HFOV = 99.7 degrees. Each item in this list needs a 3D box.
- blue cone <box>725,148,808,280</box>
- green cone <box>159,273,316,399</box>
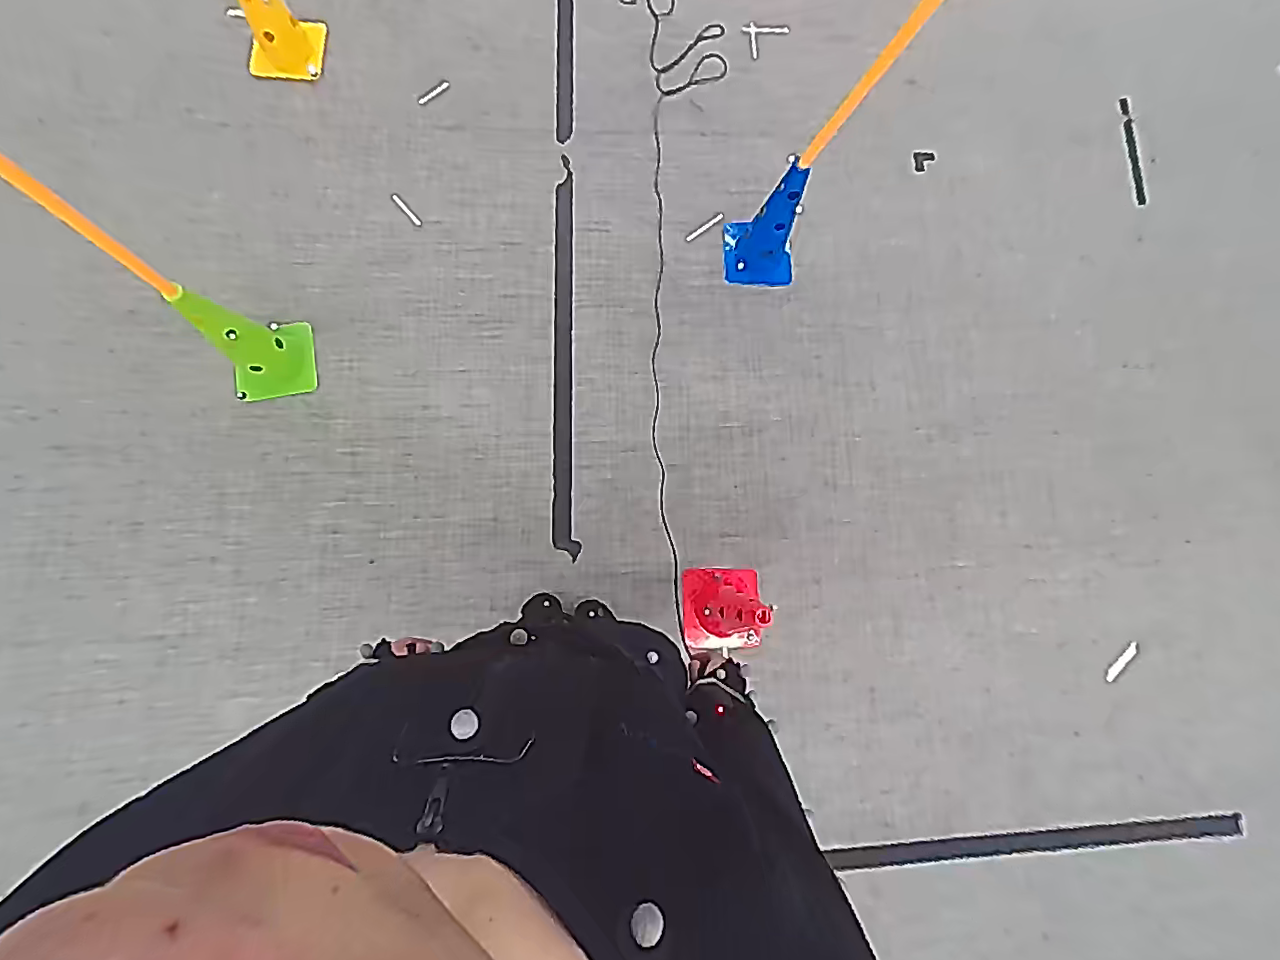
[{"bbox_3d":[0.359,-0.708,1.430,0.193,0.380,0.192,2,79,-4],"label":"blue cone"},{"bbox_3d":[-0.946,-0.353,1.251,0.200,0.368,0.202,-11,79,-7],"label":"green cone"}]
